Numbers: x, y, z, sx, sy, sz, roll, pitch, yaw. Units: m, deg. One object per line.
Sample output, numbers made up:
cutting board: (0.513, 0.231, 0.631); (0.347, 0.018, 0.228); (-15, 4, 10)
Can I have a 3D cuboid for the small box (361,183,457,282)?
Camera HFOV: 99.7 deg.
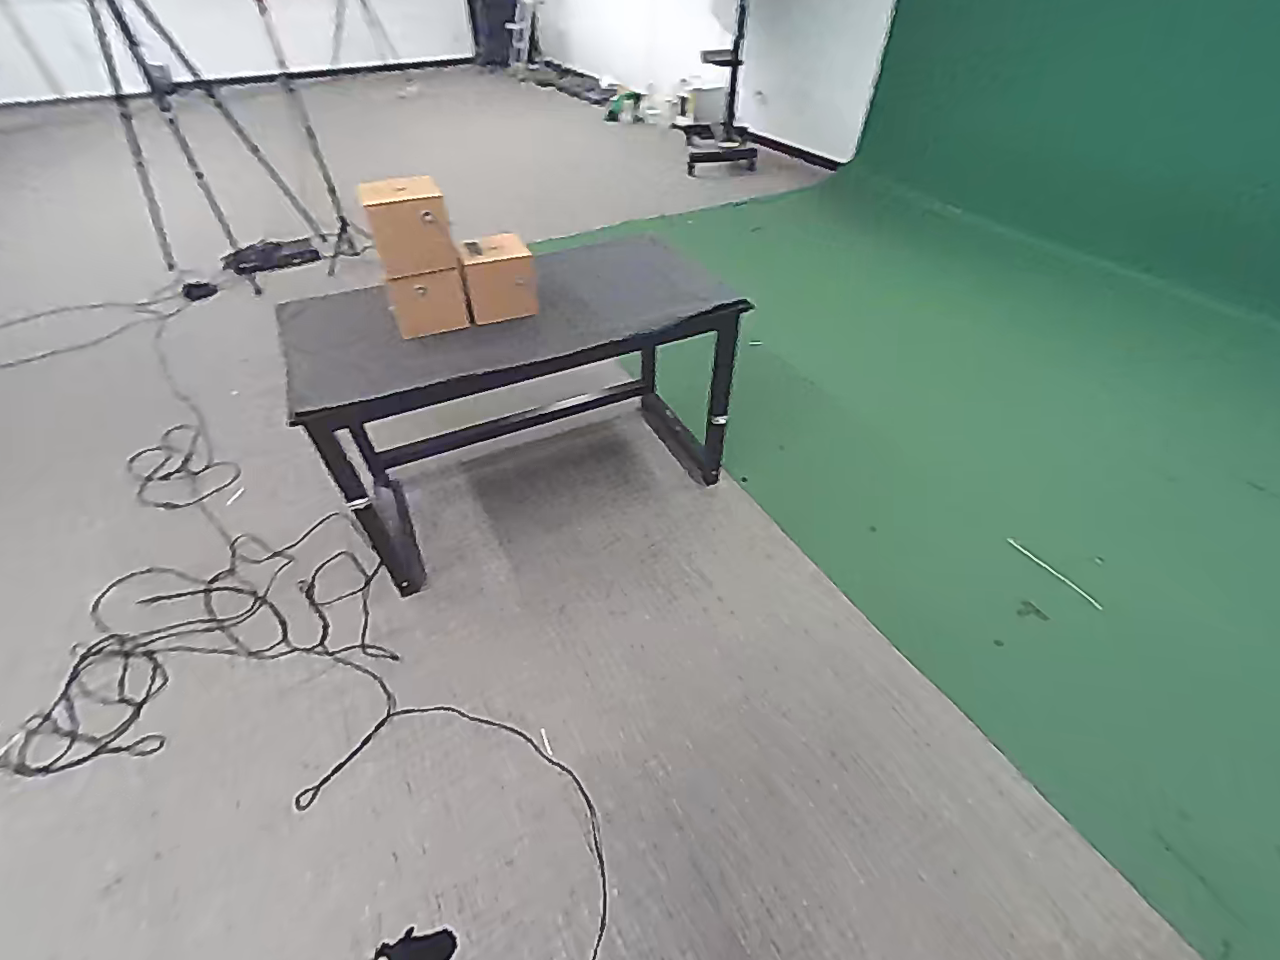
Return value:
small box: (-0.558, -0.607, 1.326); (0.179, 0.176, 0.168); (-18, 47, -19)
